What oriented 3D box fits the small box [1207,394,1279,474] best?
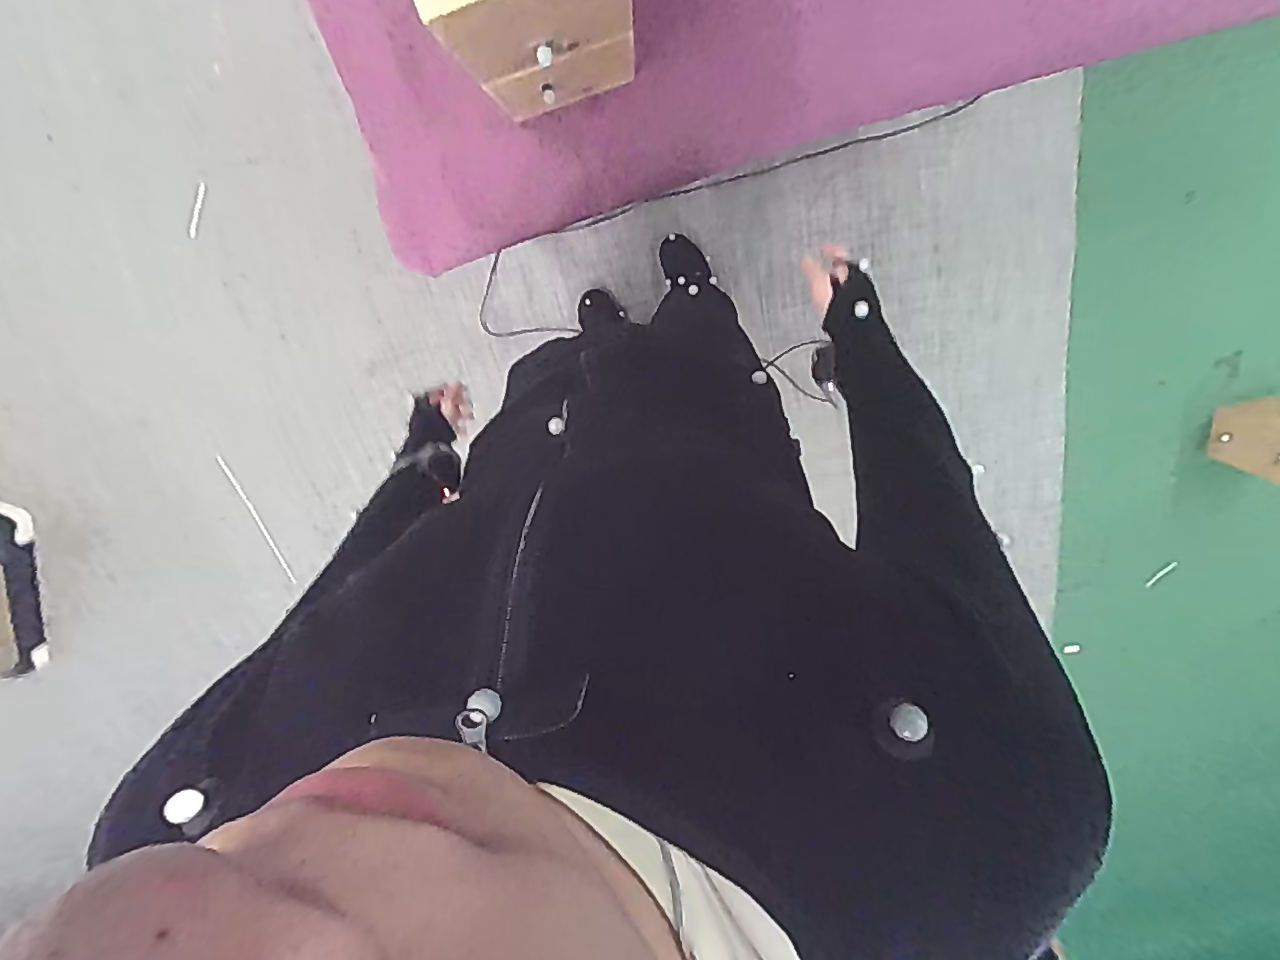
[{"bbox_3d":[1.799,-0.136,1.538,0.179,0.176,0.168,-11,112,5],"label":"small box"}]

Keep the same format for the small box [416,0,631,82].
[{"bbox_3d":[-0.108,-0.470,0.440,0.168,0.176,0.179,-15,112,7],"label":"small box"}]

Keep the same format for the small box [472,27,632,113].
[{"bbox_3d":[-0.109,-0.531,0.592,0.168,0.176,0.179,-15,111,6],"label":"small box"}]
